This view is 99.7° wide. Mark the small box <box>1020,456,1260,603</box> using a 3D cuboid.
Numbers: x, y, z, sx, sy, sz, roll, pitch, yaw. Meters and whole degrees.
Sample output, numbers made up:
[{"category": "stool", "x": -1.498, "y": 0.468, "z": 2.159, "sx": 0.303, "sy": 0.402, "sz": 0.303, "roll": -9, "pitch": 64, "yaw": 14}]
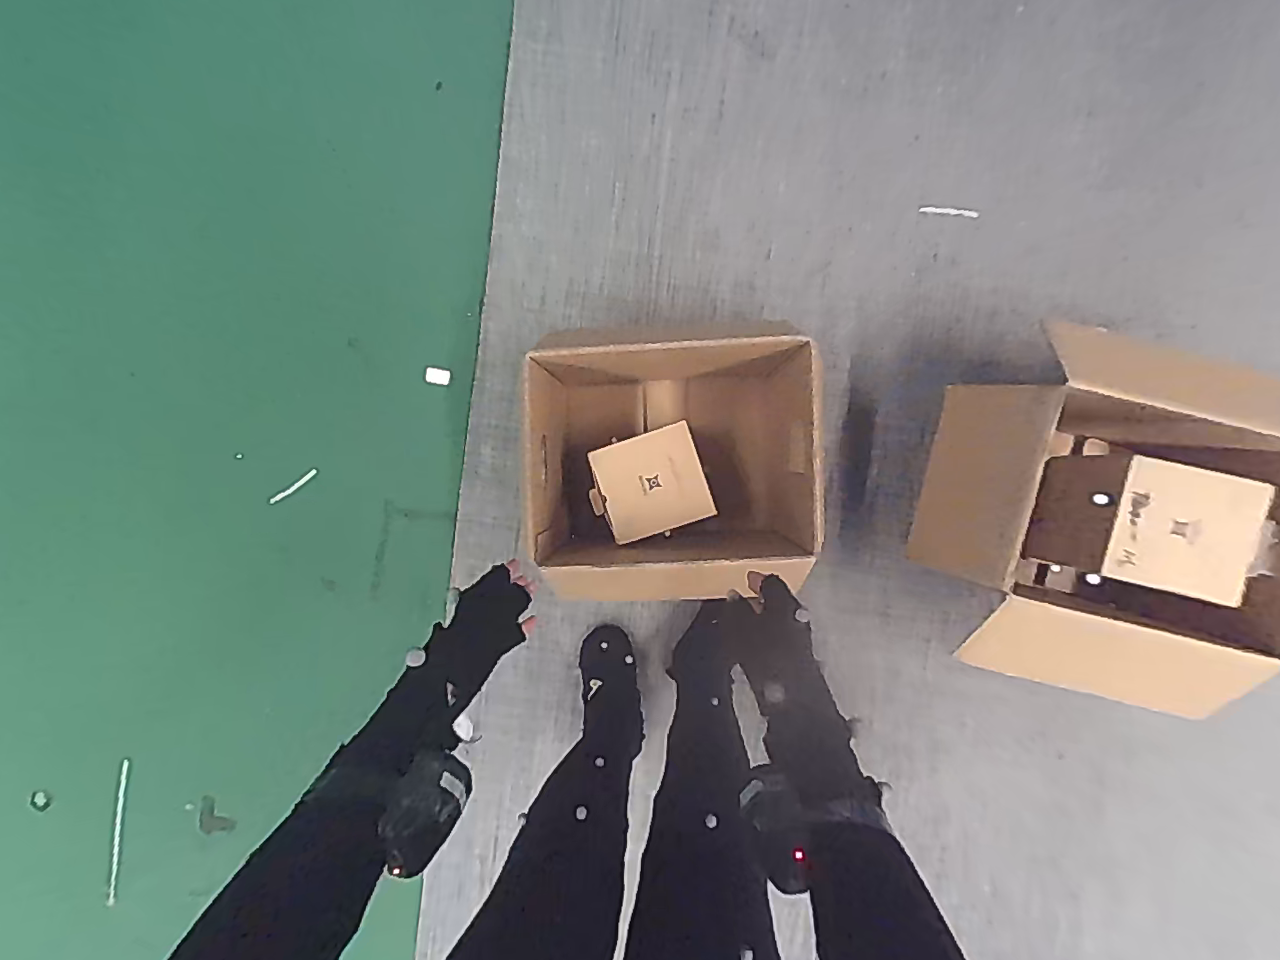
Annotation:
[{"category": "small box", "x": 0.710, "y": 0.064, "z": 0.790, "sx": 0.179, "sy": 0.176, "sz": 0.168, "roll": 13, "pitch": 91, "yaw": 3}]
